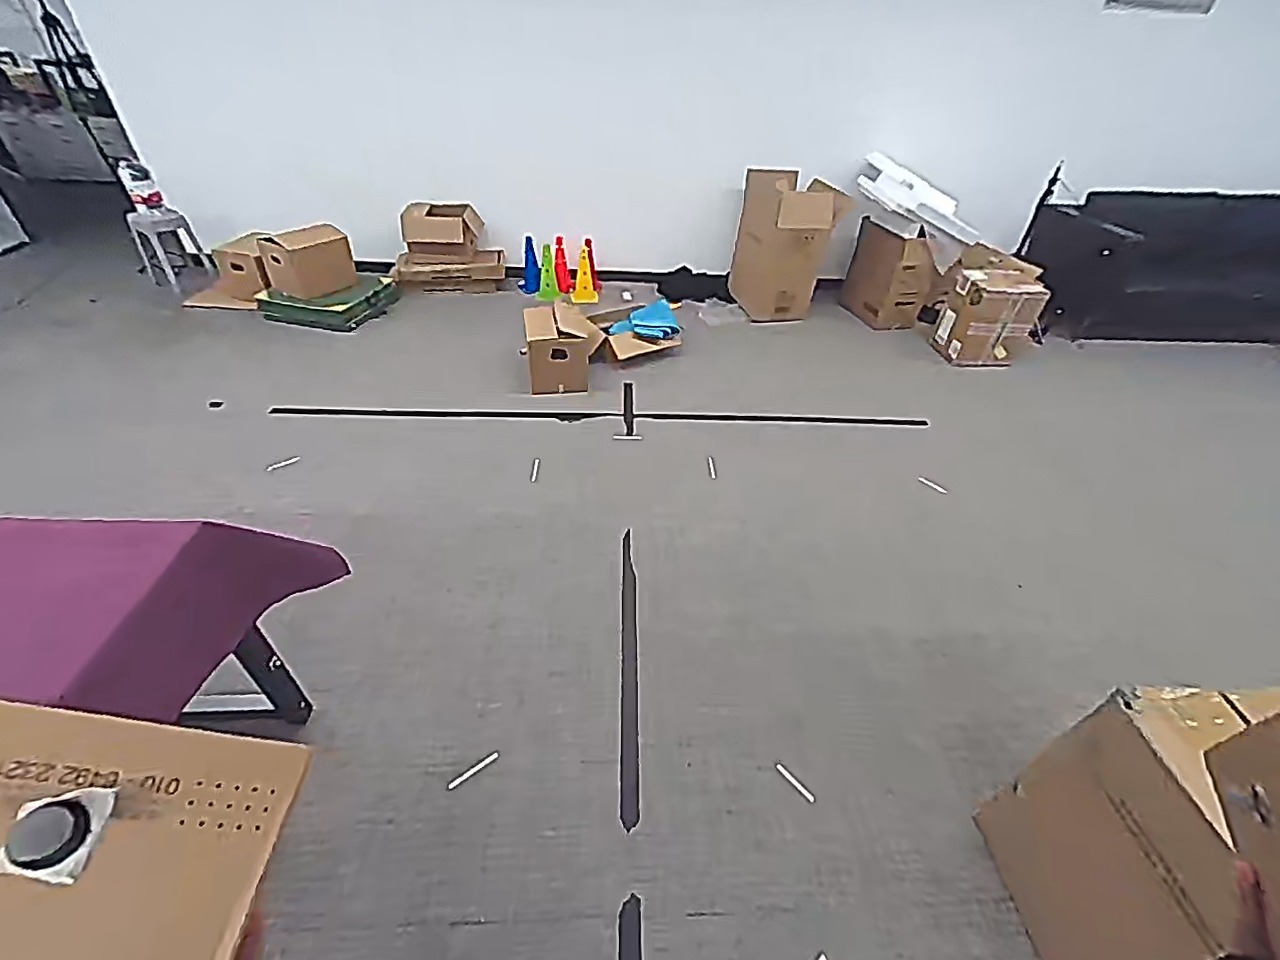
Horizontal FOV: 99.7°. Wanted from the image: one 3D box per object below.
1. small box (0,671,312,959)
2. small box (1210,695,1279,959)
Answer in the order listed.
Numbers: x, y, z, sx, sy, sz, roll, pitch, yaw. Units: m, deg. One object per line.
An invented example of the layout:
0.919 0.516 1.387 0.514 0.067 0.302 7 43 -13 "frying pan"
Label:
-0.260 0.184 0.230 0.168 0.179 0.176 19 57 -22 "small box"
0.440 0.209 0.270 0.168 0.179 0.176 -10 57 29 "small box"
